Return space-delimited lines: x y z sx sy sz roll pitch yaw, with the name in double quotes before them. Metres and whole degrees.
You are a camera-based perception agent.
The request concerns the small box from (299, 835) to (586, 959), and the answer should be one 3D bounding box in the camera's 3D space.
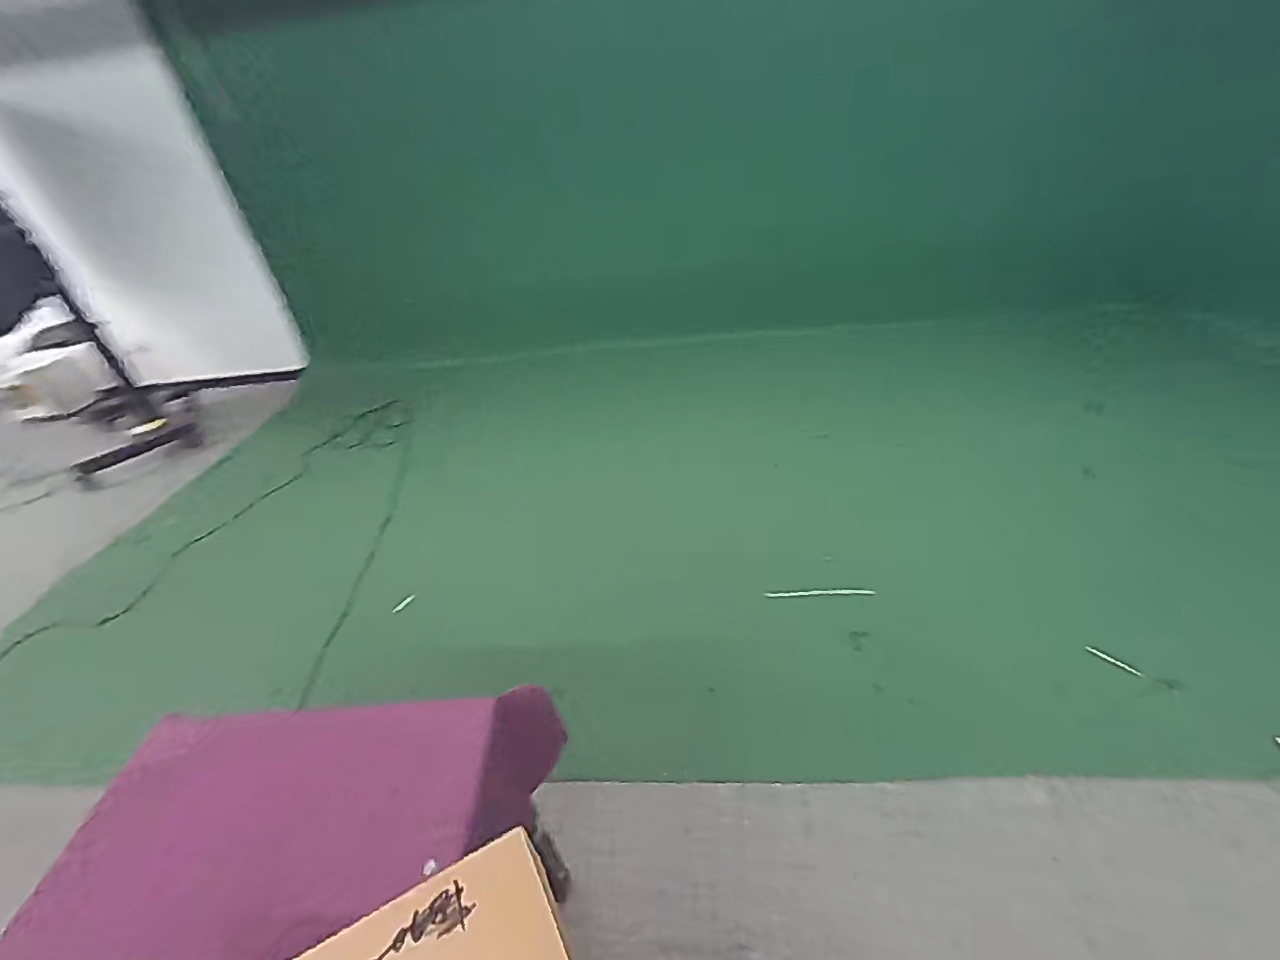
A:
"small box" -0.110 0.382 0.362 0.168 0.176 0.179 -19 52 -21
